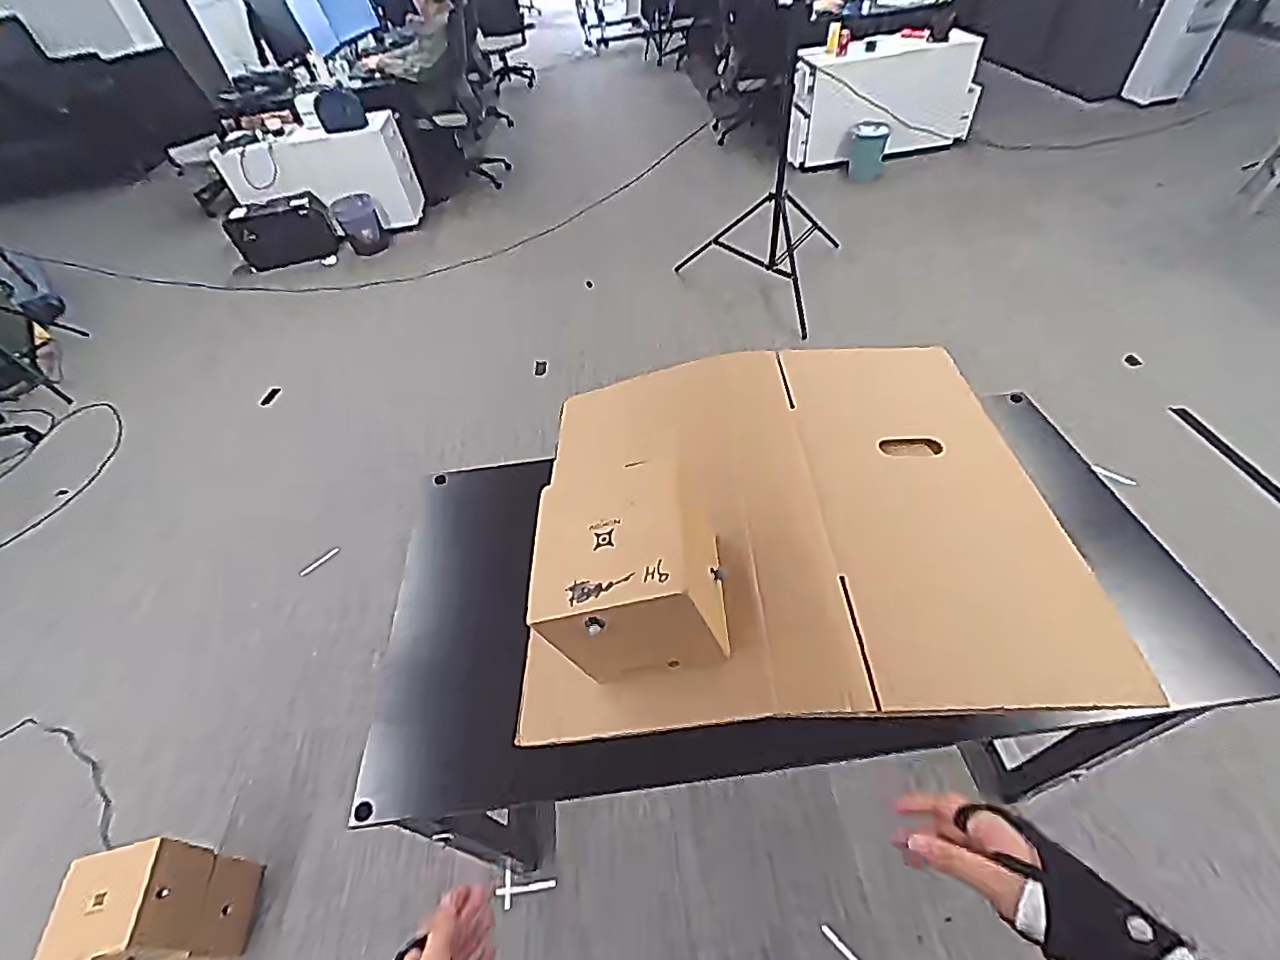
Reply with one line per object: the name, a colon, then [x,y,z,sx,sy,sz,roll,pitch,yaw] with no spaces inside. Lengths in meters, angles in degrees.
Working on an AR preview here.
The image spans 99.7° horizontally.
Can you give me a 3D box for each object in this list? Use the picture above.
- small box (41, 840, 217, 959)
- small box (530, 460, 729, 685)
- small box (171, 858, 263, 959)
small box: [-0.986,0.842,1.062,0.168,0.176,0.179,-13,47,-5]
small box: [-0.003,0.109,0.618,0.168,0.176,0.179,-15,46,15]
small box: [-0.967,0.954,1.178,0.168,0.176,0.179,-11,49,-2]
